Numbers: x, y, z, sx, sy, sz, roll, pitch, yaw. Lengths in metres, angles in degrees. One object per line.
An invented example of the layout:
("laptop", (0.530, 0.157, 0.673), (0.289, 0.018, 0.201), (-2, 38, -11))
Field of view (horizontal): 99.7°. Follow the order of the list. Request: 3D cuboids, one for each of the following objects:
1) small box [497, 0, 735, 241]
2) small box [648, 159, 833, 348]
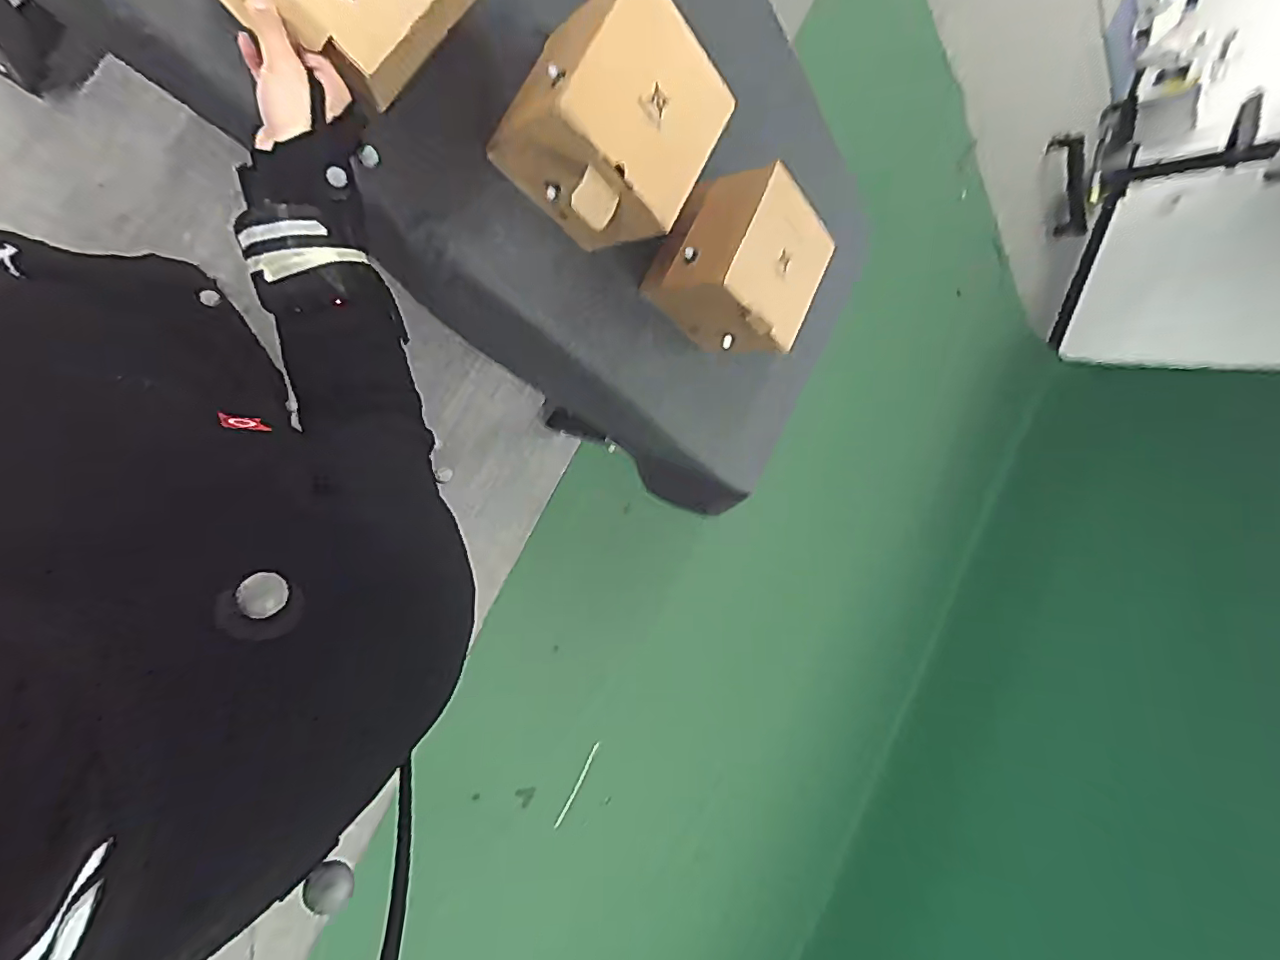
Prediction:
("small box", (-0.031, -0.398, 0.603), (0.168, 0.176, 0.179), (32, 82, -41))
("small box", (0.136, -0.305, 0.767), (0.168, 0.176, 0.179), (29, 82, -42))
